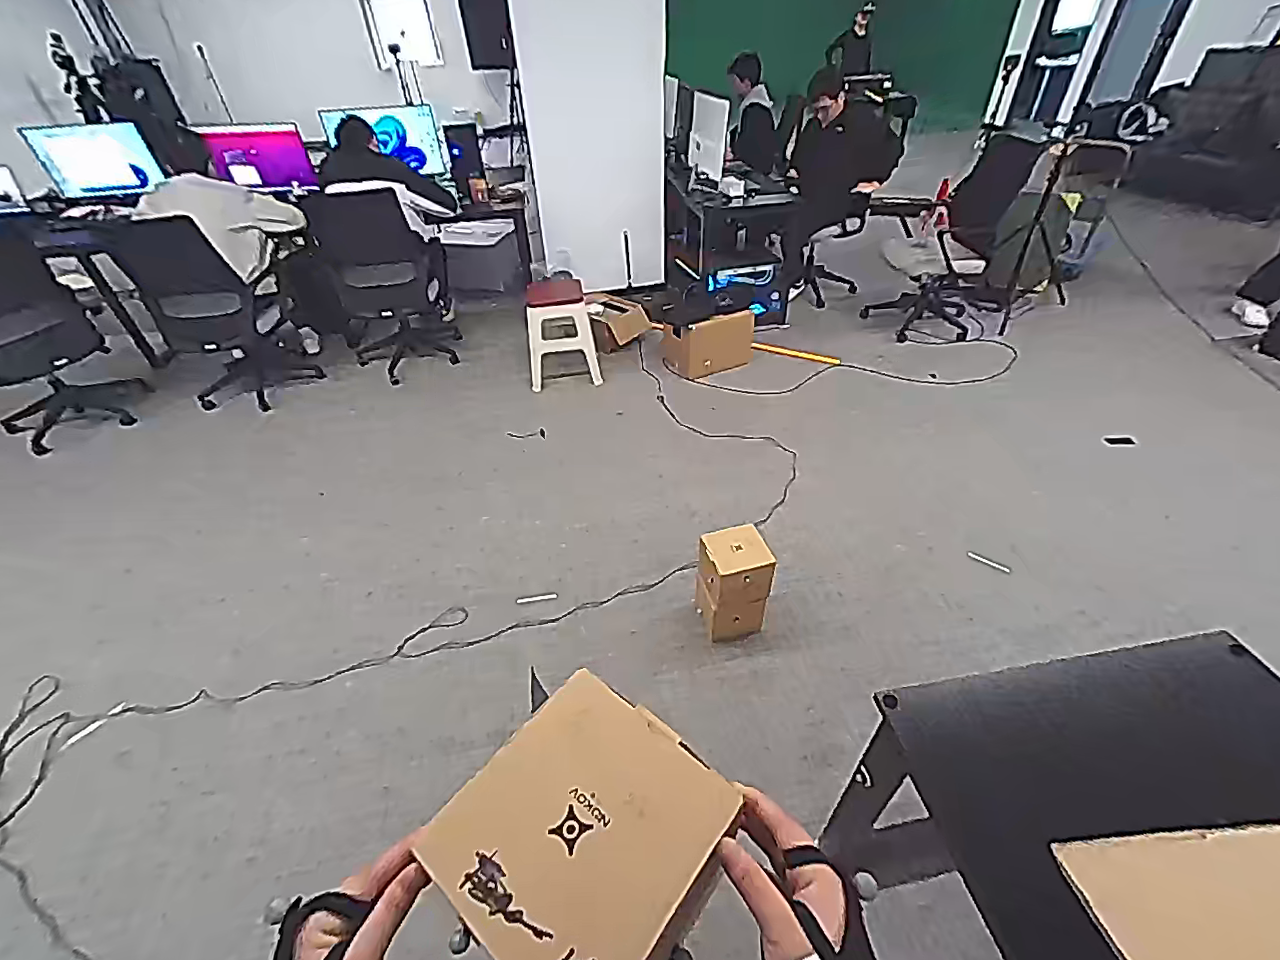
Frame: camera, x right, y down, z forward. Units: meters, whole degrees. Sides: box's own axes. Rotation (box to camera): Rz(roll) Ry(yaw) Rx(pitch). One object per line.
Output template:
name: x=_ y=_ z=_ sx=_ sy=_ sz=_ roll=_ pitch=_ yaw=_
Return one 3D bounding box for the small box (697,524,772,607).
small box: x=0.283 y=0.264 z=1.652 sx=0.179 sy=0.176 sz=0.168 roll=-12 pitch=42 yaw=-11

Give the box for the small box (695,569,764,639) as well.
small box: x=0.283 y=0.390 z=1.755 sx=0.179 sy=0.176 sz=0.168 roll=-11 pitch=41 yaw=-8

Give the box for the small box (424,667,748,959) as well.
small box: x=-0.036 y=0.299 z=0.436 sx=0.168 sy=0.176 sz=0.179 roll=27 pitch=47 yaw=31
